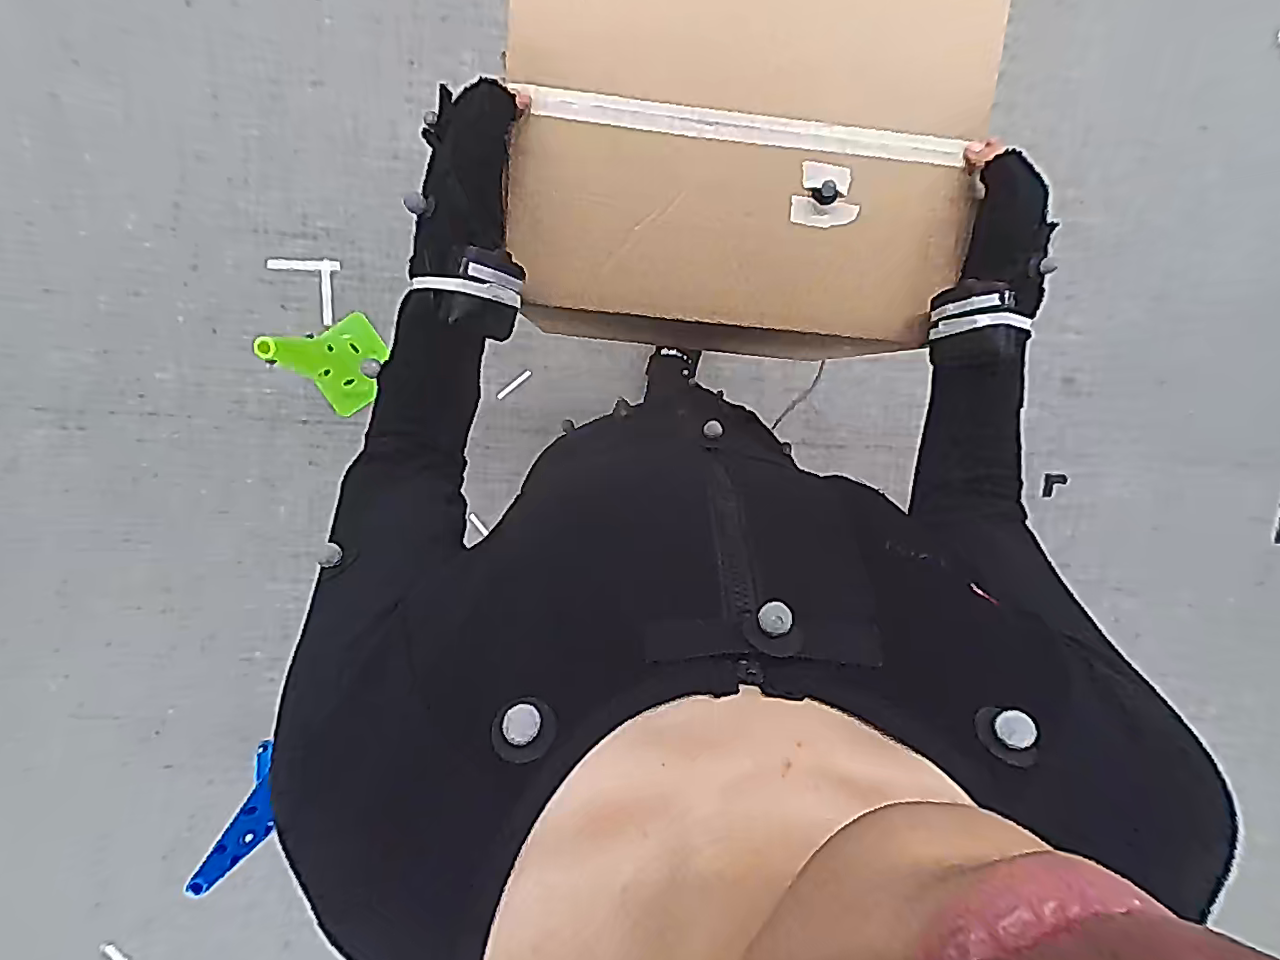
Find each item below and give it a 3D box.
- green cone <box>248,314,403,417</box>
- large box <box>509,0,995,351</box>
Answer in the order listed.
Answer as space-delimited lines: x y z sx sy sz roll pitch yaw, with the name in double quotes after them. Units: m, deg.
-0.721 -0.267 1.192 0.202 0.368 0.200 -34 96 2 "green cone"
0.081 -0.324 0.603 0.408 0.320 0.320 4 100 -5 "large box"
